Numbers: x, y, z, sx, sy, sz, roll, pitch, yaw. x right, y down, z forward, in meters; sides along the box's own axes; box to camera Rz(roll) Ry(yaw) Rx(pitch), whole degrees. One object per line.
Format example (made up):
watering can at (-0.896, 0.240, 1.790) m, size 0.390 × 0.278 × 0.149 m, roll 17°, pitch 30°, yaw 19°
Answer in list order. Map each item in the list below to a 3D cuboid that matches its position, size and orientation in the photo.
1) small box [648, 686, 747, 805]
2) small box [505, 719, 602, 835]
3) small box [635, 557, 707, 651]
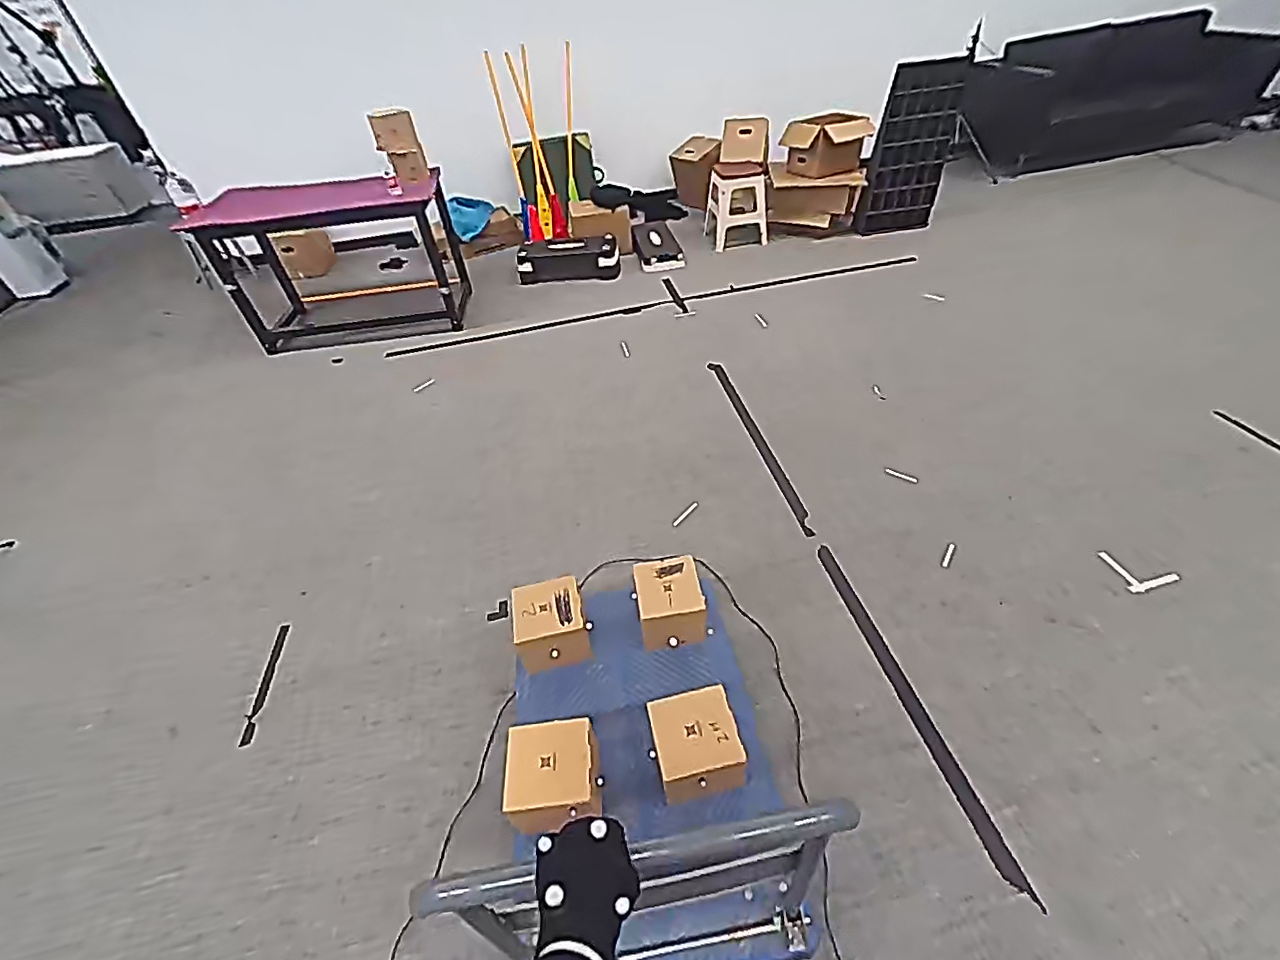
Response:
small box at (0.124, 0.584, 1.186) m, size 0.179 × 0.176 × 0.168 m, roll -12°, pitch 44°, yaw -5°
small box at (-0.180, 0.641, 1.164) m, size 0.179 × 0.176 × 0.168 m, roll -6°, pitch 43°, yaw -2°
small box at (0.080, 0.334, 1.455) m, size 0.168 × 0.176 × 0.179 m, roll -9°, pitch 45°, yaw -2°
